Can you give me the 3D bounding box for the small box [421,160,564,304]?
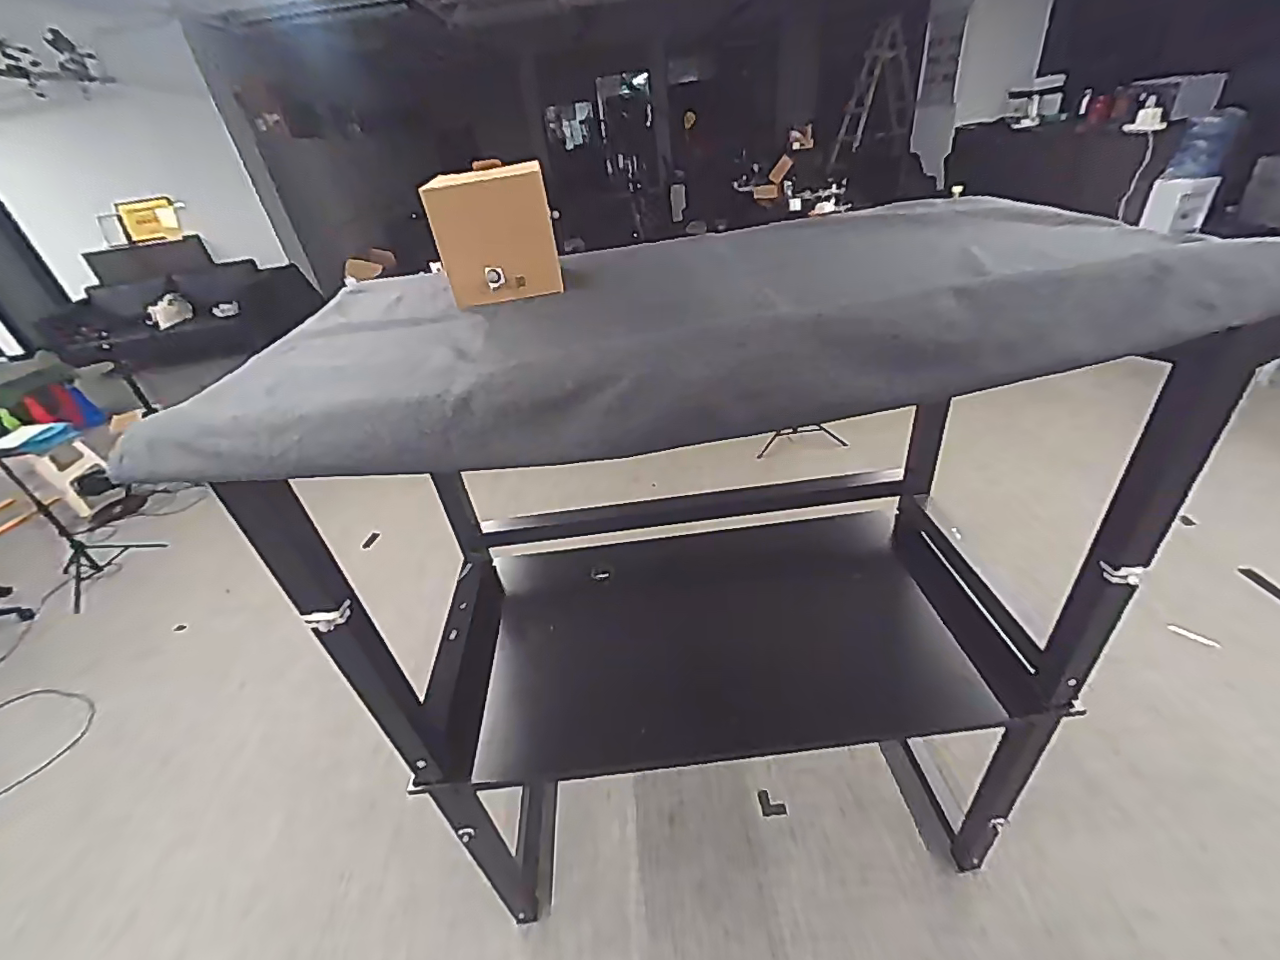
[{"bbox_3d":[-0.216,-0.386,0.839,0.168,0.176,0.179,-11,35,-3],"label":"small box"}]
